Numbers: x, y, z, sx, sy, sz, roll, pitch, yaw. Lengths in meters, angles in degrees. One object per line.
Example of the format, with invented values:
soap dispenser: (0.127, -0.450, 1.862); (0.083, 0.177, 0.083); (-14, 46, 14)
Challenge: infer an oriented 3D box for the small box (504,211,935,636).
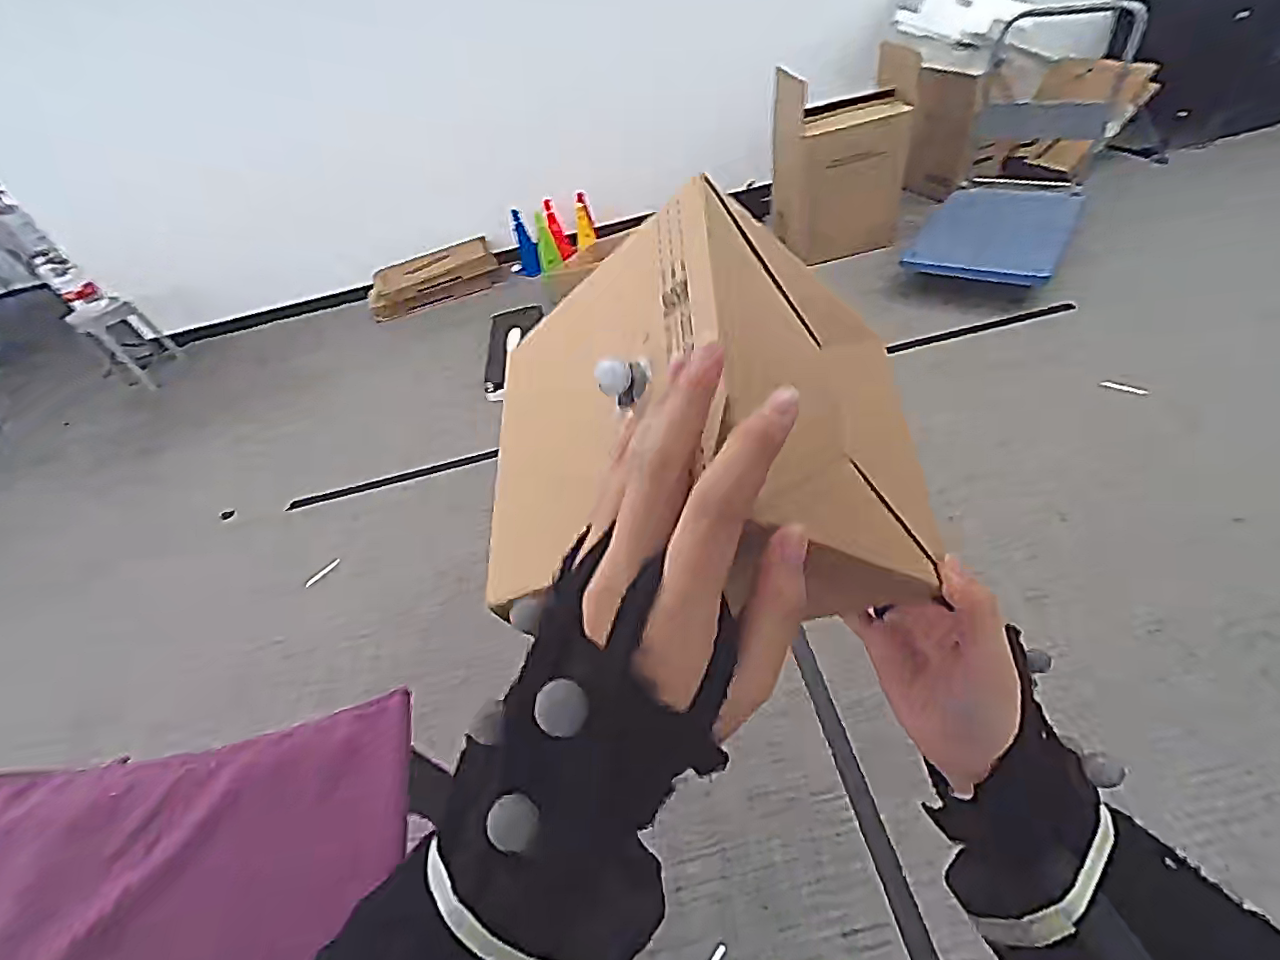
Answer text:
small box: (0.044, -0.008, 0.319); (0.176, 0.179, 0.168); (-26, 55, 41)
